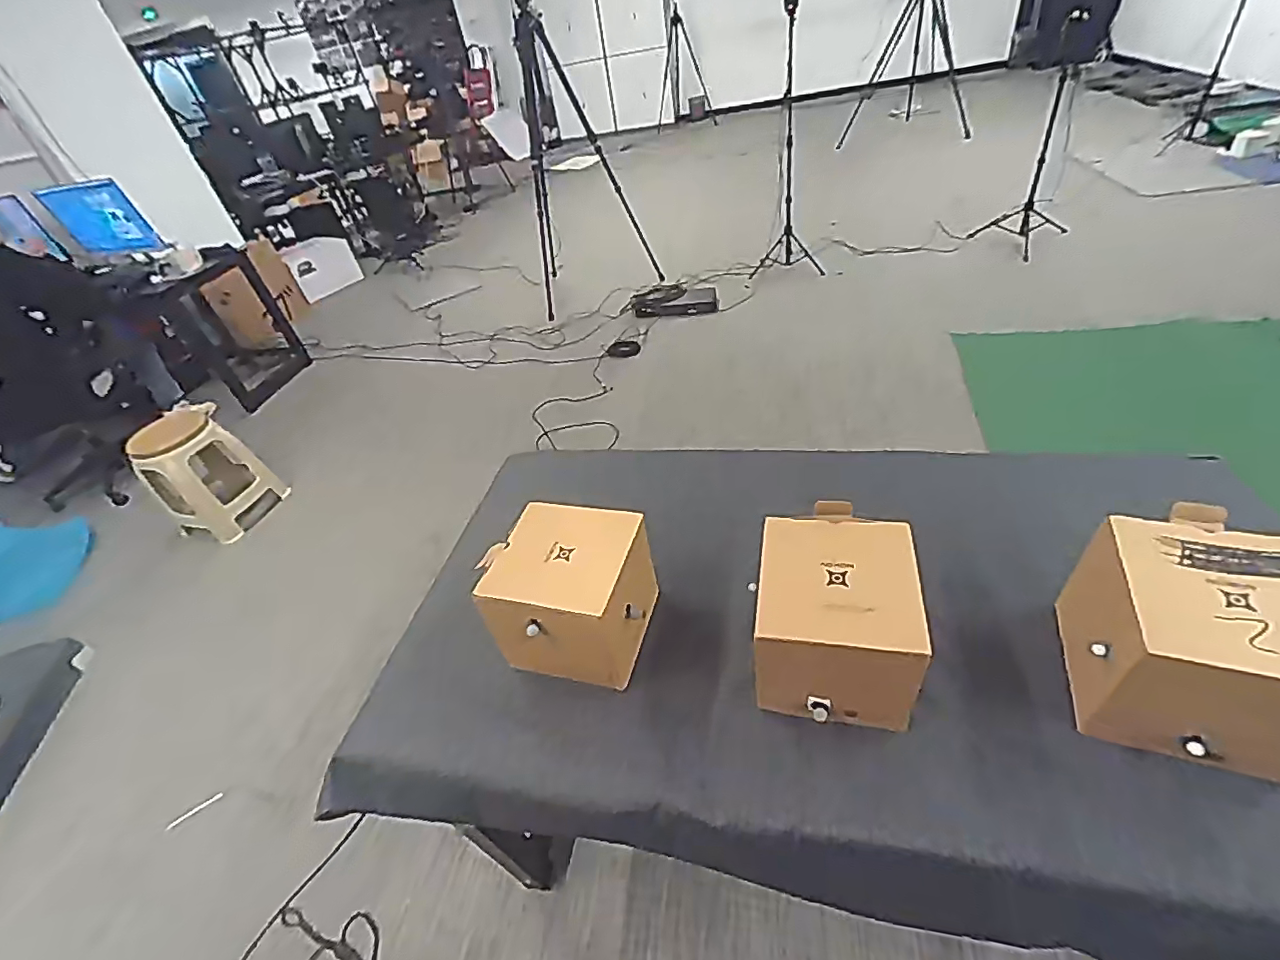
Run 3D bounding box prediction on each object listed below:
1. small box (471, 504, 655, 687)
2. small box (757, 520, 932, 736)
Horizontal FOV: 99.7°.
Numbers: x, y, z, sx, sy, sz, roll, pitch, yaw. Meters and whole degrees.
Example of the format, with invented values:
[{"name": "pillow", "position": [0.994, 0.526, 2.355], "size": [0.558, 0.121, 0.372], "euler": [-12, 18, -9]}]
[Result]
[{"name": "small box", "position": [-0.087, 0.155, 0.729], "size": [0.179, 0.176, 0.168], "euler": [5, 42, 19]}, {"name": "small box", "position": [0.228, 0.170, 0.640], "size": [0.168, 0.176, 0.179], "euler": [1, 42, 16]}]
